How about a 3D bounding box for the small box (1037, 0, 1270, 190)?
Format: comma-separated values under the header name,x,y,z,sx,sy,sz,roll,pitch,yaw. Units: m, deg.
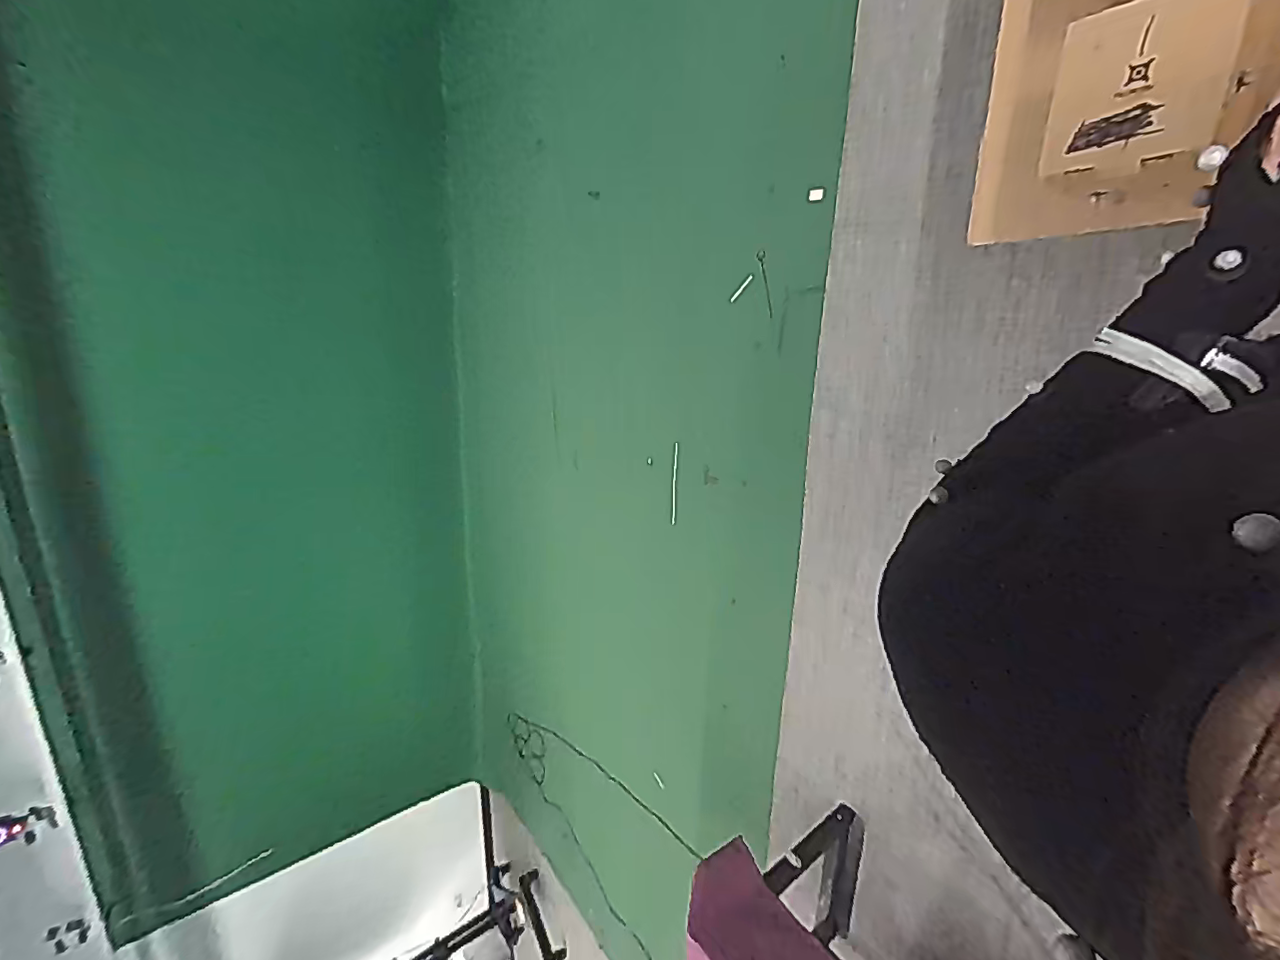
name,x,y,z,sx,sy,sz,roll,pitch,yaw
small box,0.640,-0.479,0.678,0.168,0.176,0.179,21,113,49
